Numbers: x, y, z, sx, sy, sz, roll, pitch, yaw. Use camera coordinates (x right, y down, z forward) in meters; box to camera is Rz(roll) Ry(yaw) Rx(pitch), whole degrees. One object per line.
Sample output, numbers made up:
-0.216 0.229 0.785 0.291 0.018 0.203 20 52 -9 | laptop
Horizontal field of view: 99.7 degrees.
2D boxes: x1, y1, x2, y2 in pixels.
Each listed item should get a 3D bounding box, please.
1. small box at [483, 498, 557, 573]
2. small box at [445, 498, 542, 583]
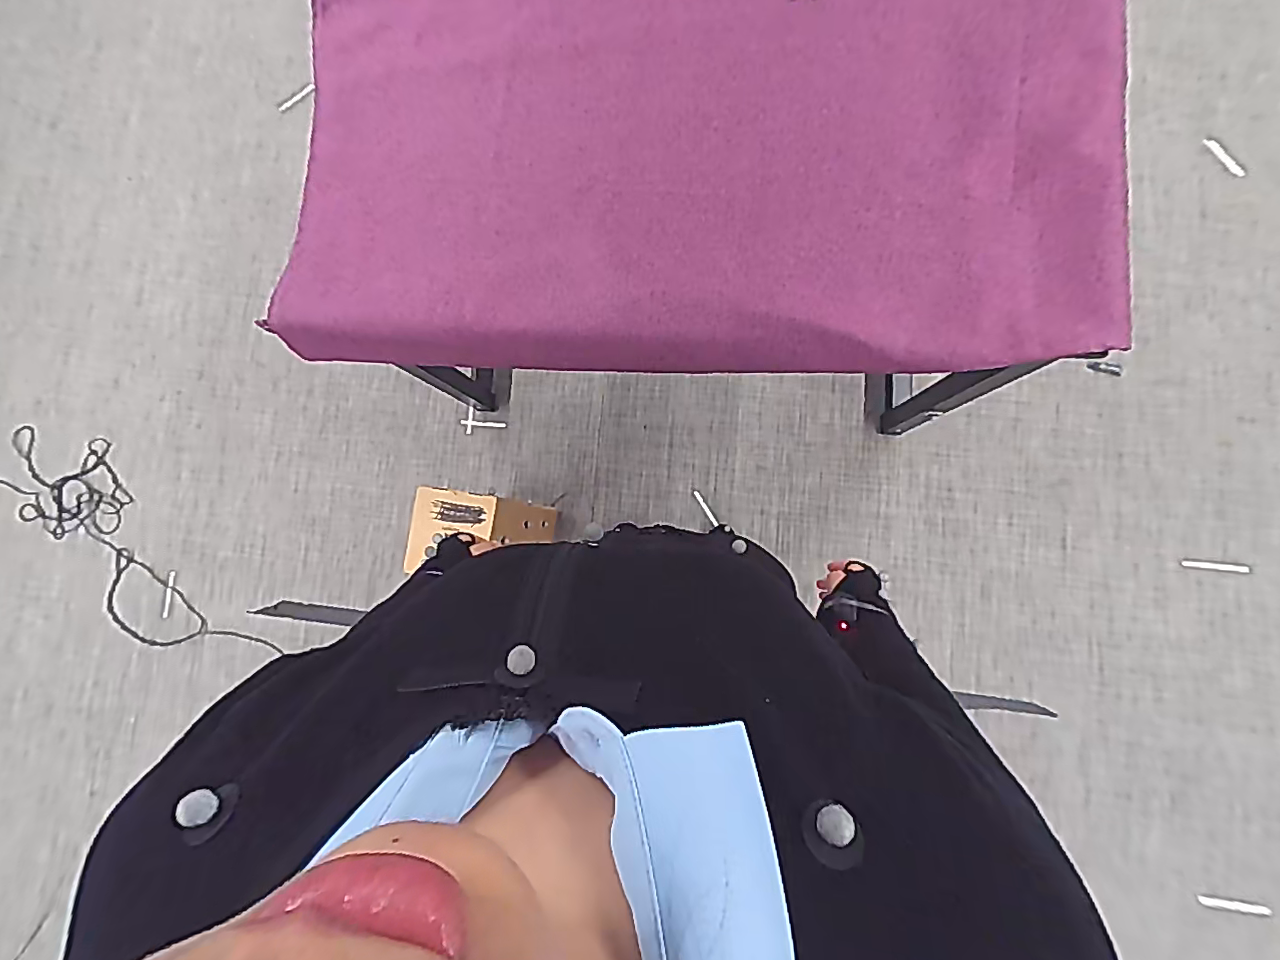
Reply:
-0.334 0.154 1.458 0.168 0.176 0.179 11 86 6 | small box
-0.342 0.142 1.293 0.168 0.176 0.179 6 85 6 | small box
